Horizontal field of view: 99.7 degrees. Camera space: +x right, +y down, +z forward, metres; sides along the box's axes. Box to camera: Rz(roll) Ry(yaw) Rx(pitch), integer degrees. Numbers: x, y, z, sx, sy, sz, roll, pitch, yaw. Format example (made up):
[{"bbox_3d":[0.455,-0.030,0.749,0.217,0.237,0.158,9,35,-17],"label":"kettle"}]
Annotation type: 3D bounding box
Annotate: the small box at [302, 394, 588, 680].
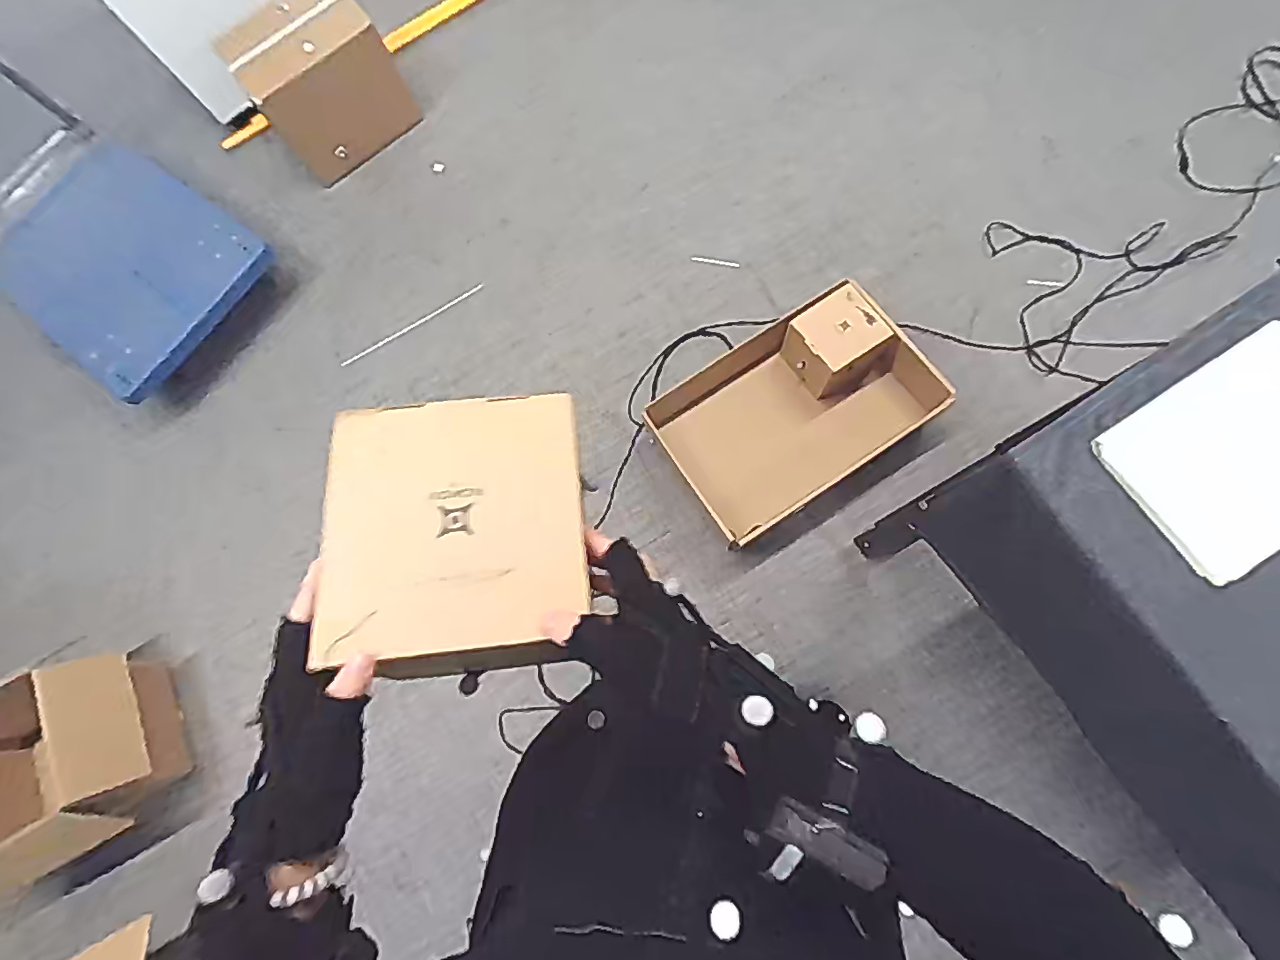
[{"bbox_3d":[-0.132,0.054,0.430,0.168,0.176,0.179,-6,68,-5],"label":"small box"}]
